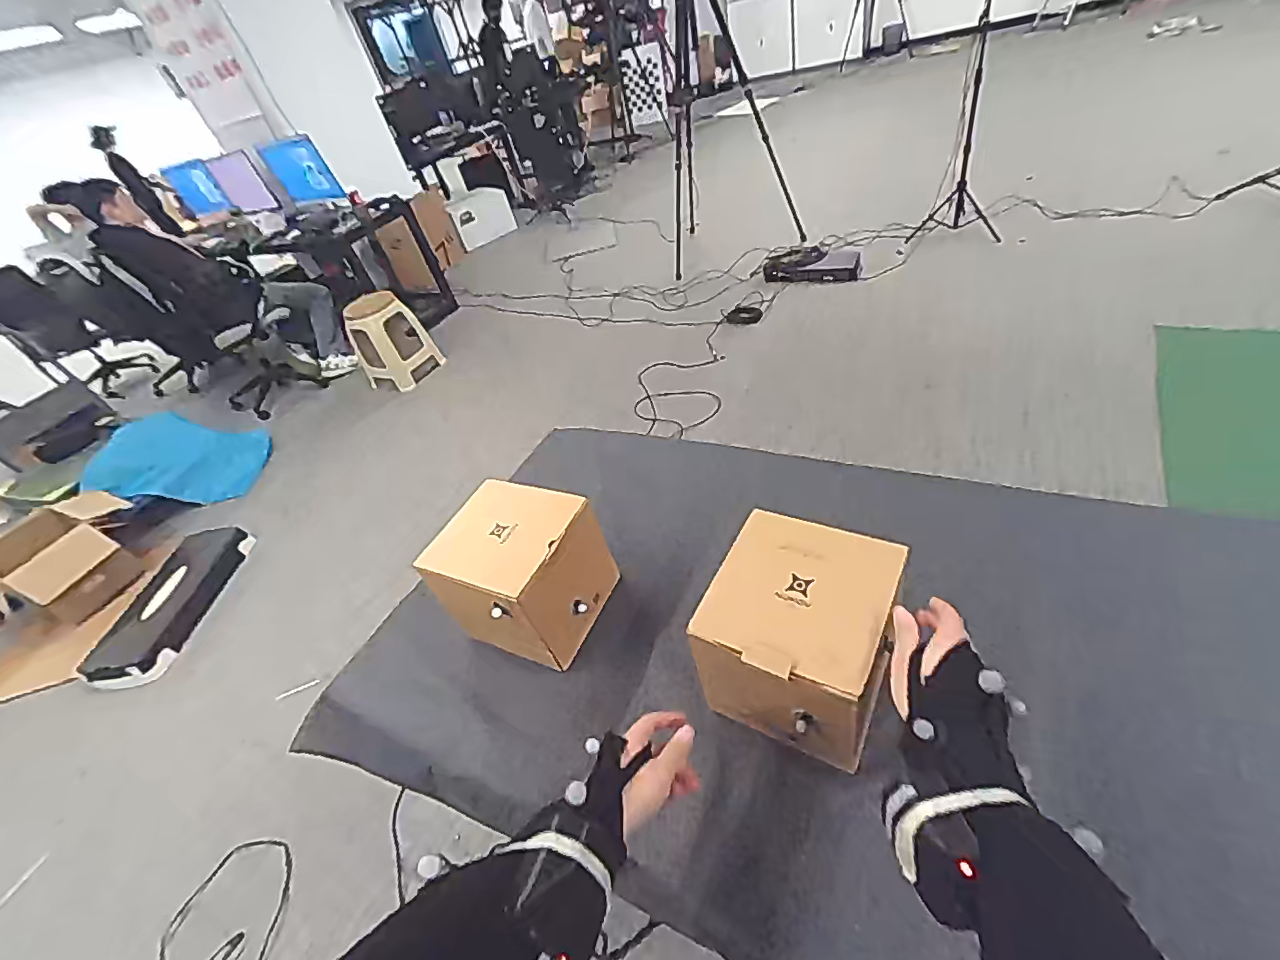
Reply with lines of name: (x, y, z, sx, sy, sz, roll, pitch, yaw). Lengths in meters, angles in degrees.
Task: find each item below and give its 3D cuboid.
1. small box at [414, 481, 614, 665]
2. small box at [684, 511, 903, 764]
small box: (-0.160, 0.126, 0.740, 0.179, 0.176, 0.168, 10, 47, 26)
small box: (0.169, 0.167, 0.583, 0.168, 0.176, 0.179, 15, 49, 30)
